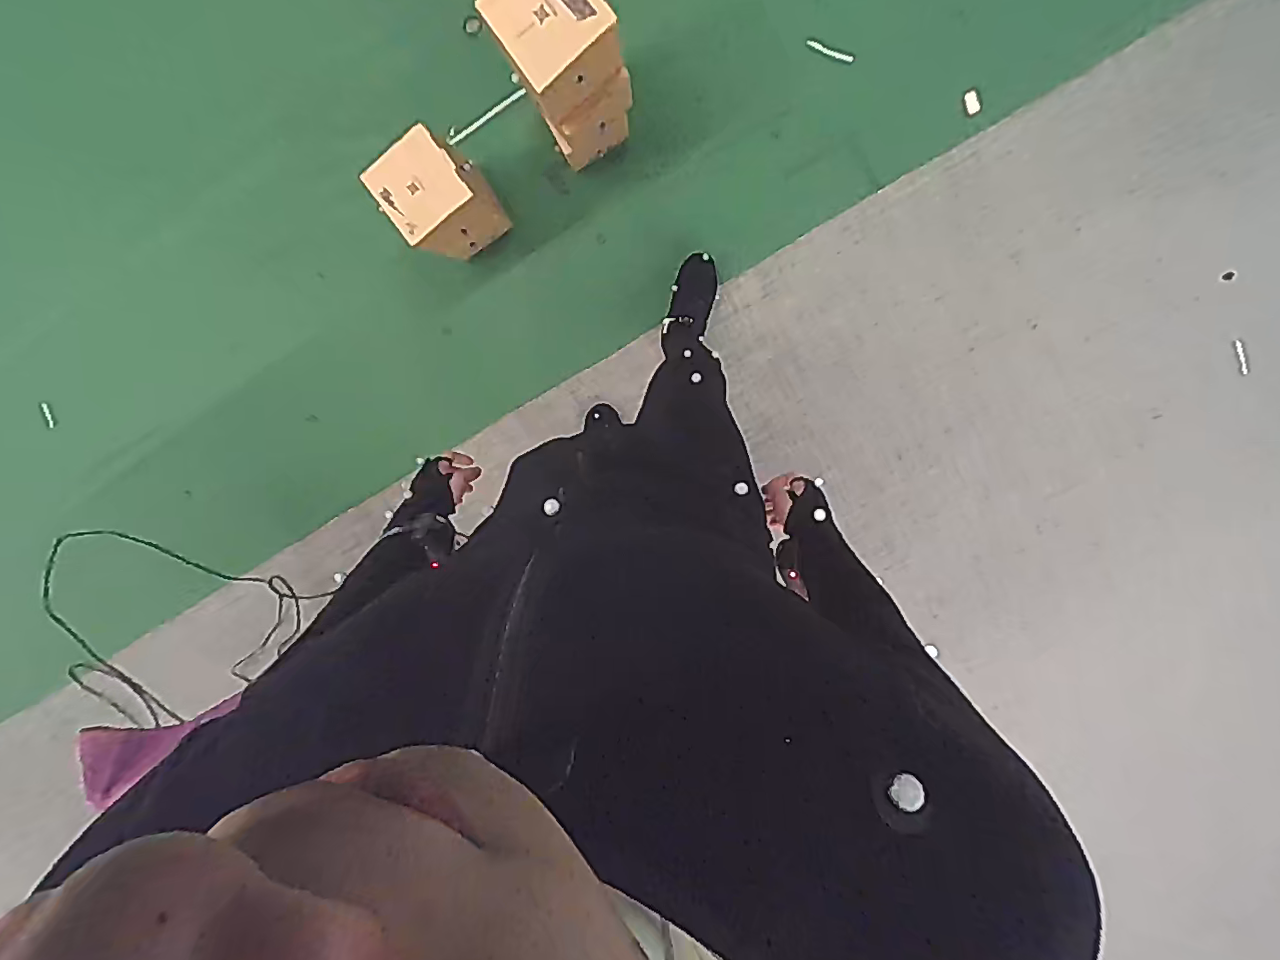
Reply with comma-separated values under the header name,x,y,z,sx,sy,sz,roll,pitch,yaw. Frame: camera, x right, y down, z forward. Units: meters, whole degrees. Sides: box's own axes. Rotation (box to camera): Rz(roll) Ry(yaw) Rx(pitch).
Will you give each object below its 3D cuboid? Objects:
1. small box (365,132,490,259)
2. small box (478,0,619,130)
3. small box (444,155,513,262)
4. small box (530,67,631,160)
name,x,y,z,sx,sy,sz,roll,pitch,yaw
small box,-0.455,-0.617,1.196,0.179,0.176,0.168,-33,102,11
small box,-0.151,-0.776,0.964,0.179,0.176,0.168,-35,103,12
small box,-0.444,-0.665,1.353,0.168,0.176,0.179,-30,103,11
small box,-0.134,-0.810,1.126,0.168,0.176,0.179,-38,102,12
